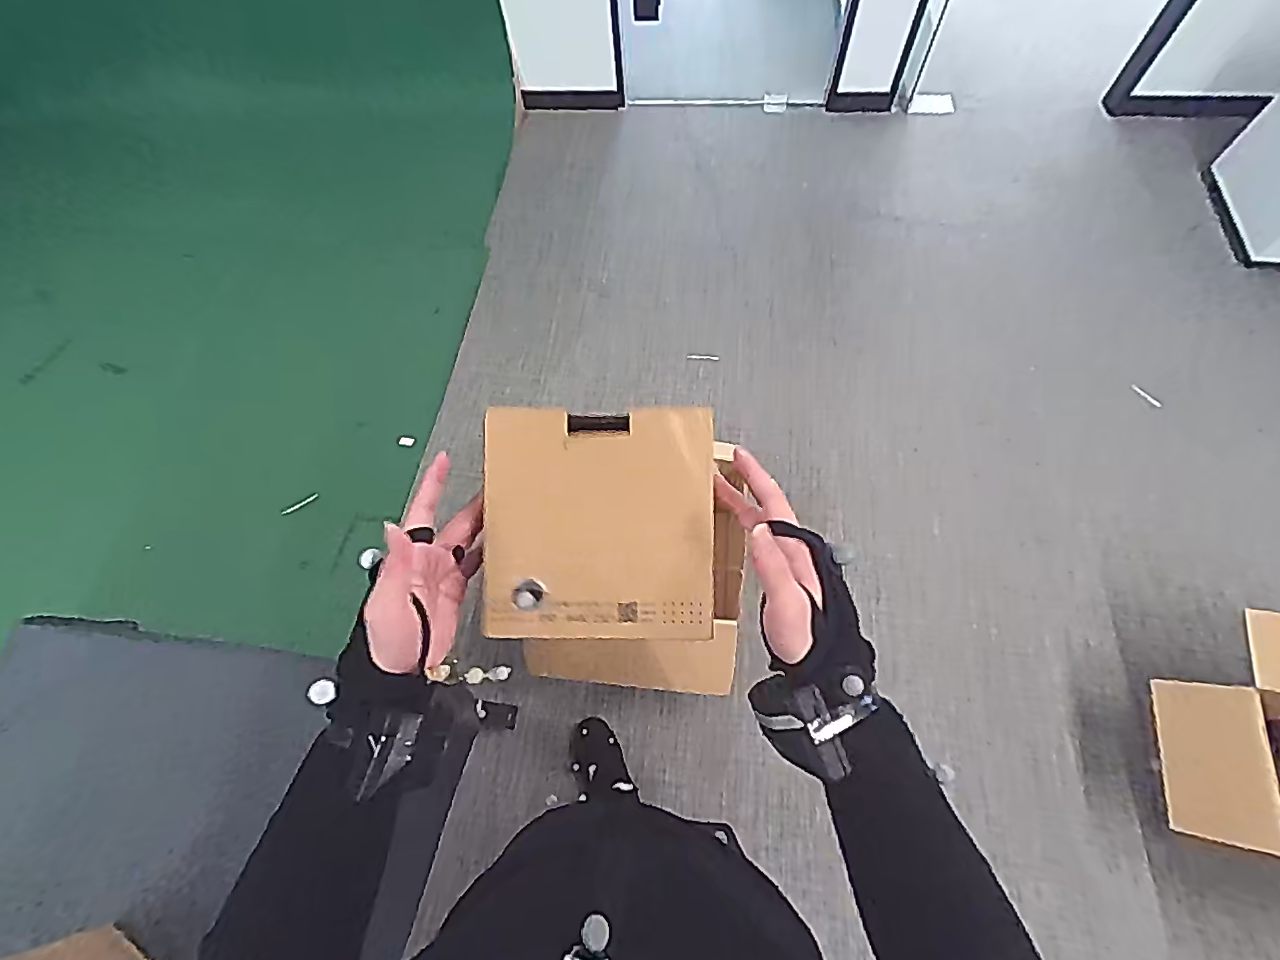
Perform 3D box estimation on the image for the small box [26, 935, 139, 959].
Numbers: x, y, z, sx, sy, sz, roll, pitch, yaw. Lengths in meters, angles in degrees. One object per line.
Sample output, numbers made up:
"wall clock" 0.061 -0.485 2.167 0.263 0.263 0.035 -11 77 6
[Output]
"small box" -0.603 0.592 0.520 0.179 0.176 0.168 25 67 14
